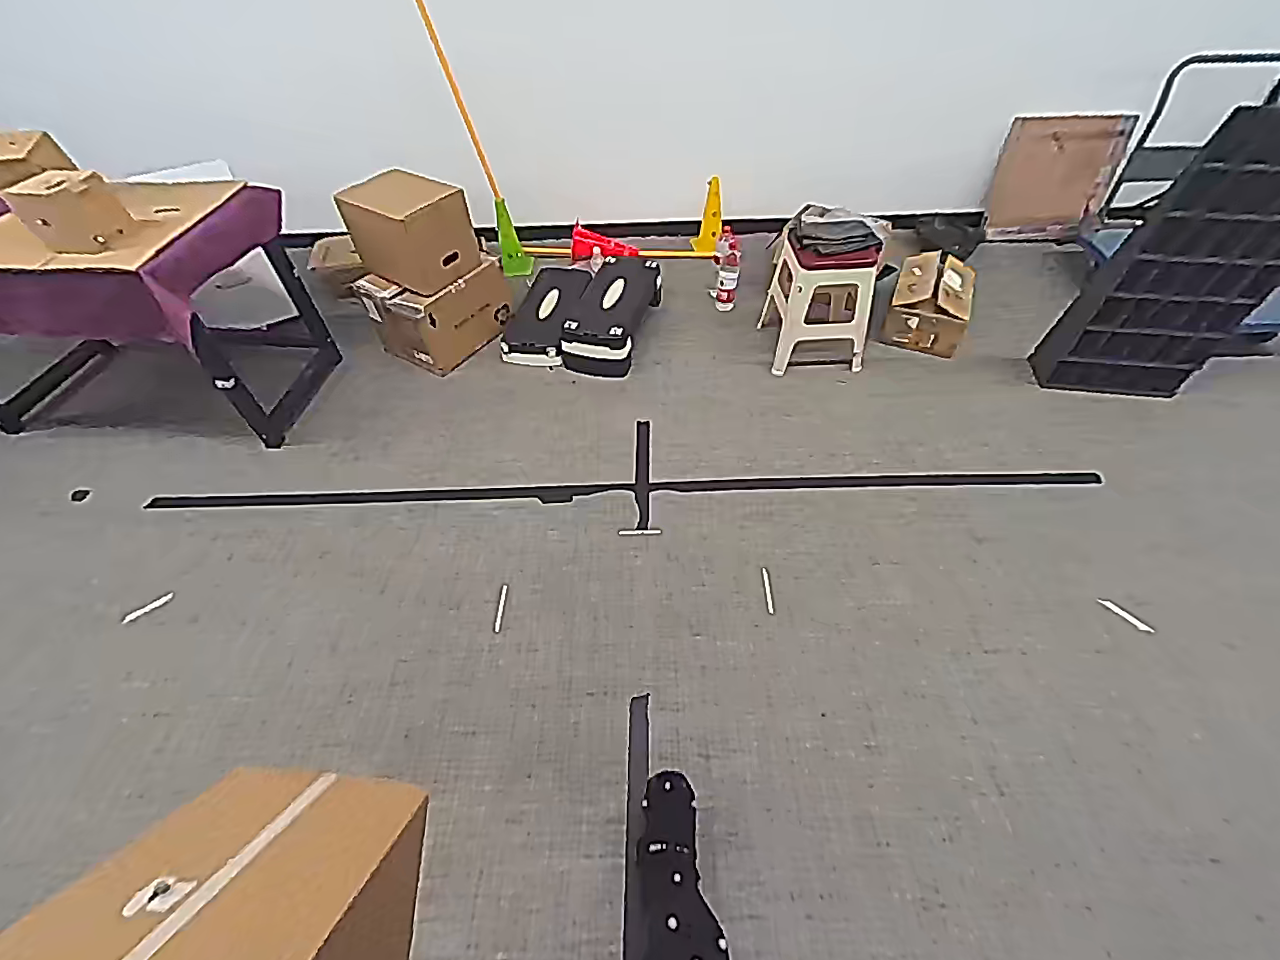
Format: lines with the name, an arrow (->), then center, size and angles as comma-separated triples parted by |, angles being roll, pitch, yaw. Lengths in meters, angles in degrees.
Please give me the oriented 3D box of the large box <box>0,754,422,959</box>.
large box -> -0.525, 0.626, 0.693 | 0.320, 0.408, 0.320 | 7, 92, 1
